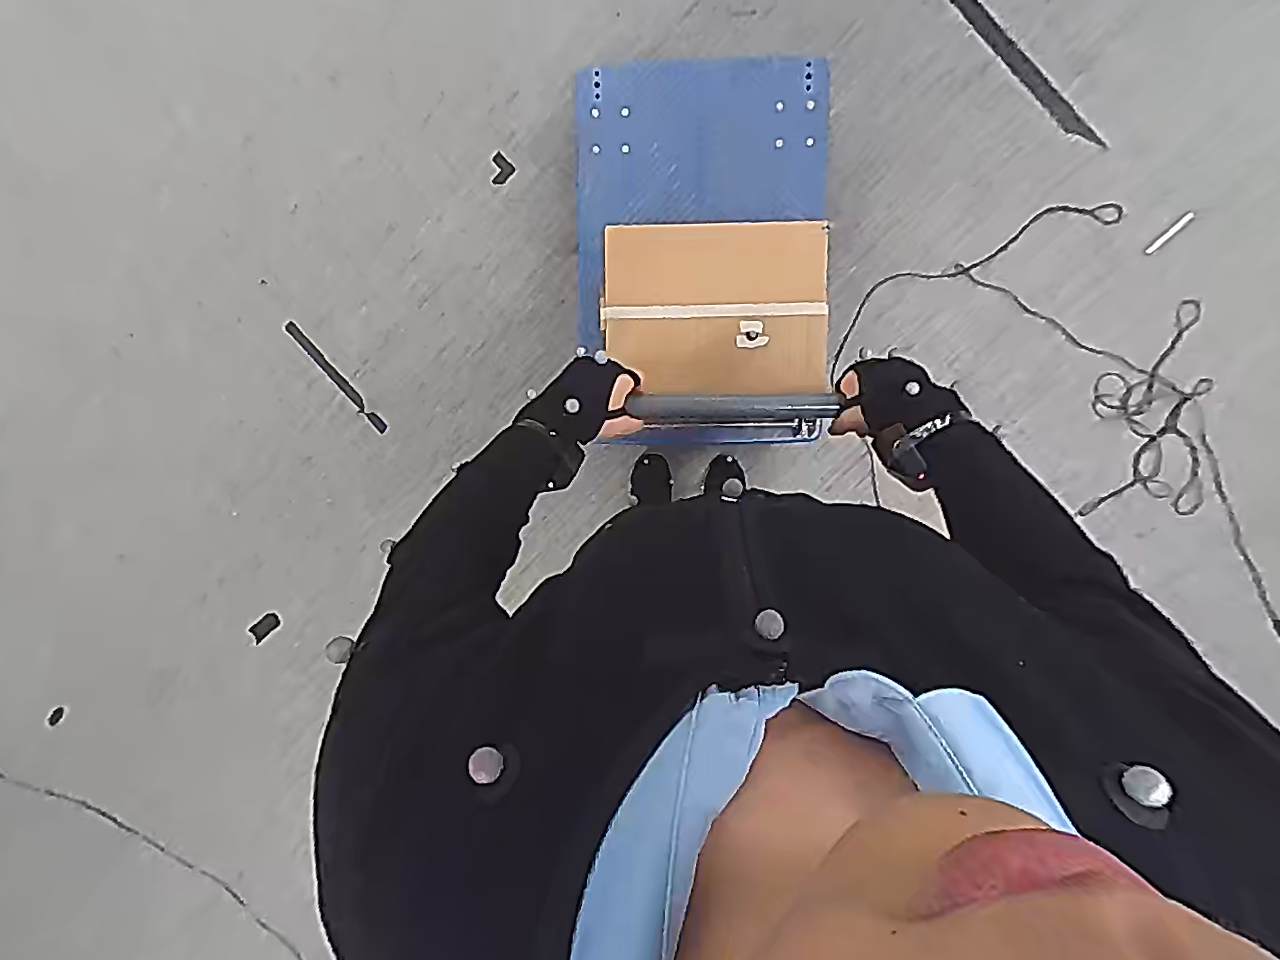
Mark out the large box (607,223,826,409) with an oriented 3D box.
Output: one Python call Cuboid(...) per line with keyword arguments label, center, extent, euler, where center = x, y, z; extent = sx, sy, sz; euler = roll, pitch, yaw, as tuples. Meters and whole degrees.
Cuboid(label="large box", center=(0.144, -0.320, 1.142), extent=(0.408, 0.320, 0.320), euler=(-1, 95, 2))
